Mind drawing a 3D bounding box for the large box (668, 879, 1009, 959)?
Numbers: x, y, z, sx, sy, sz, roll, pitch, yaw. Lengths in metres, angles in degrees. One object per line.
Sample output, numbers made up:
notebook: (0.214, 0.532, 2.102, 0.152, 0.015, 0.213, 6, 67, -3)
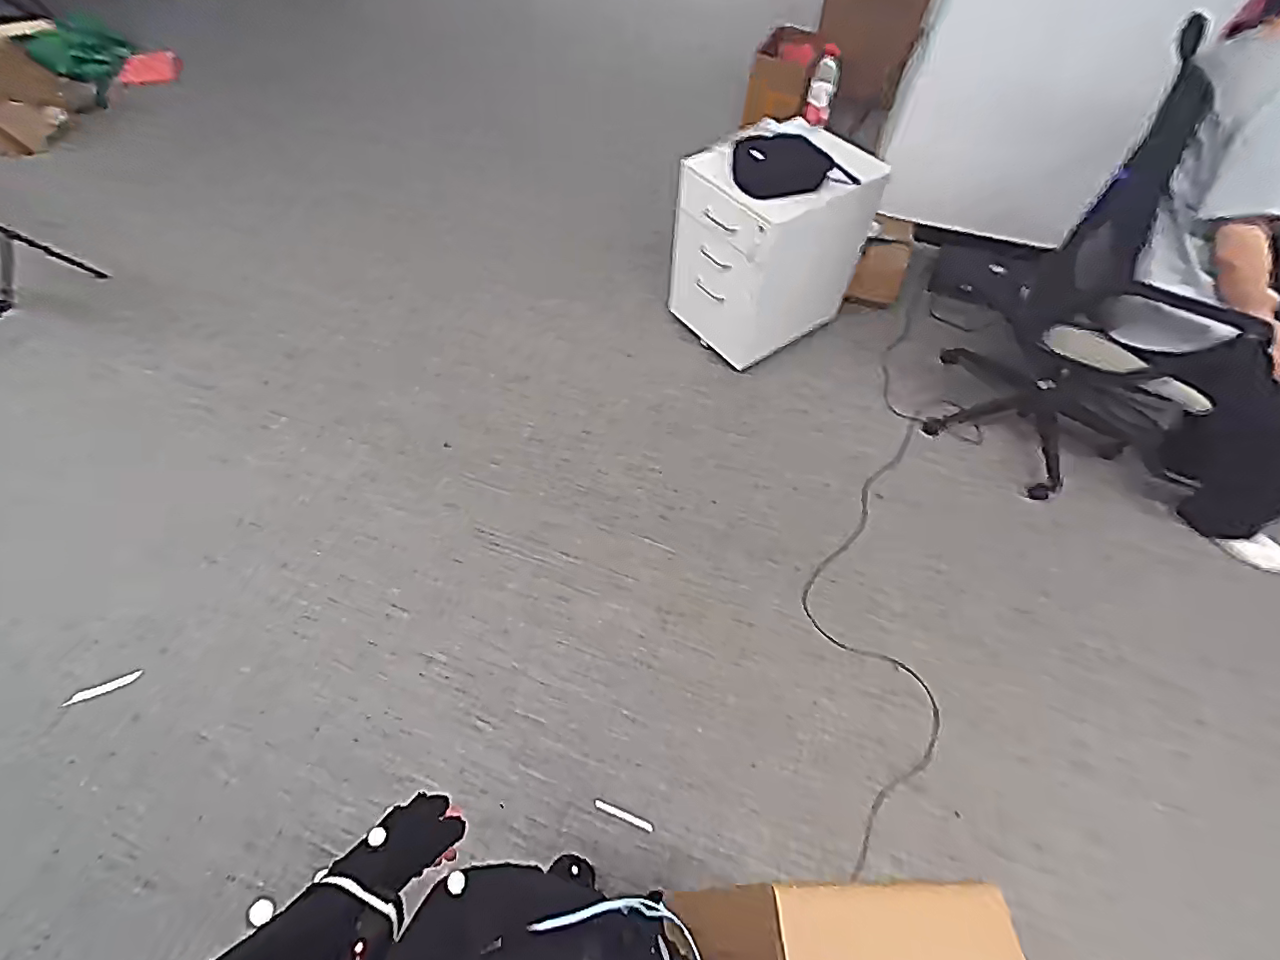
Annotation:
large box: (0.247, 0.723, 0.703, 0.320, 0.408, 0.320, 9, 51, -11)
